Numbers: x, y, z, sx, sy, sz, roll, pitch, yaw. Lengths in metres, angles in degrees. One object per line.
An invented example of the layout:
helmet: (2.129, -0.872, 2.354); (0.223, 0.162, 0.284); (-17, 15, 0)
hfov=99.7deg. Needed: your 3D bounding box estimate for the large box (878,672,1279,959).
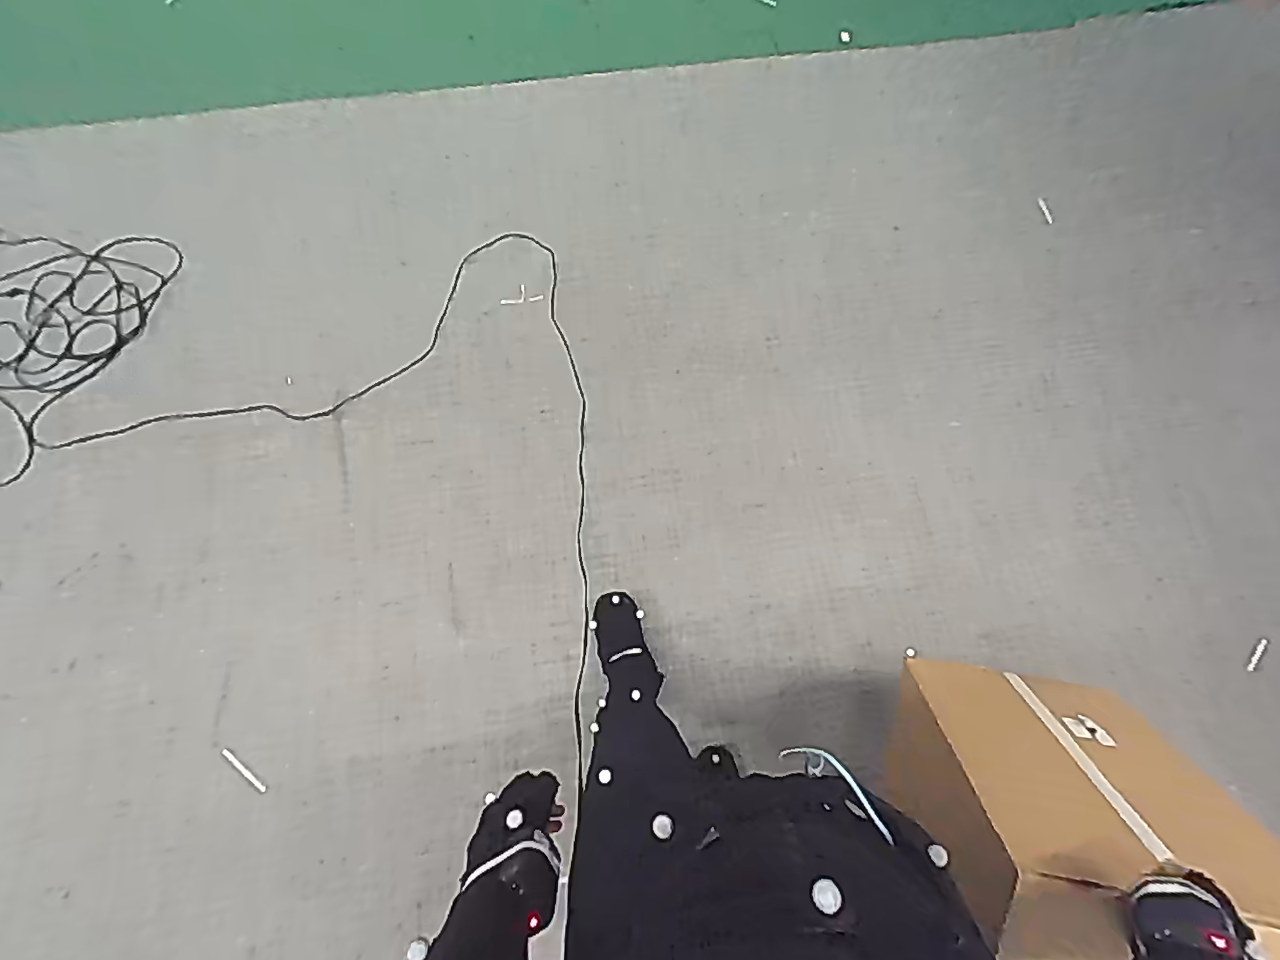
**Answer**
large box: (0.542, 0.518, 0.713); (0.320, 0.408, 0.320); (8, 102, 9)
